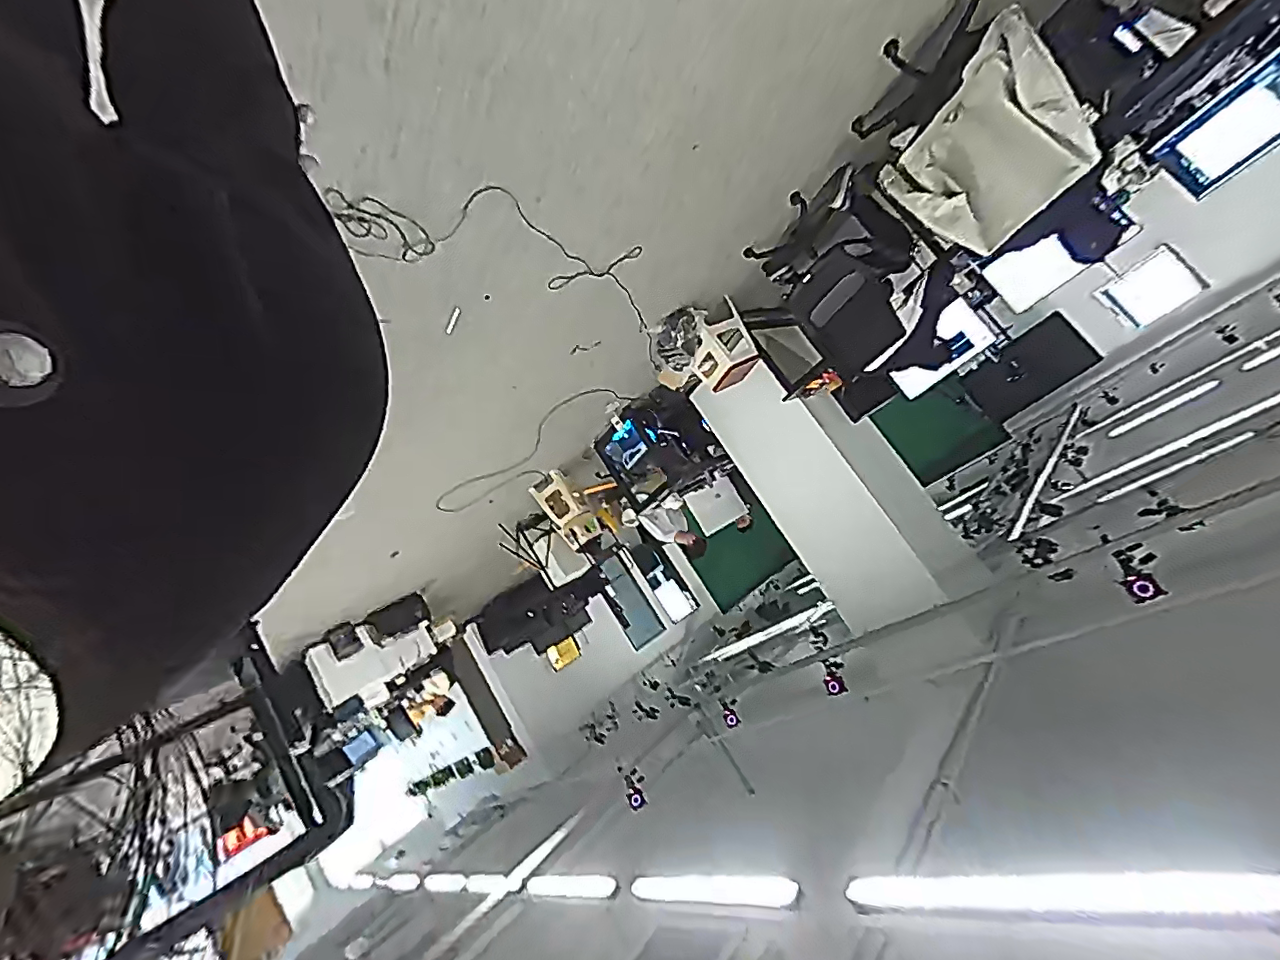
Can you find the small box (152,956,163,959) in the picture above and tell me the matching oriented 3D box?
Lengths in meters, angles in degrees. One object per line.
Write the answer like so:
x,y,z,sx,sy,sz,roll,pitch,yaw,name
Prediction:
-1.318,1.389,1.399,0.168,0.176,0.179,-20,165,-45,small box
